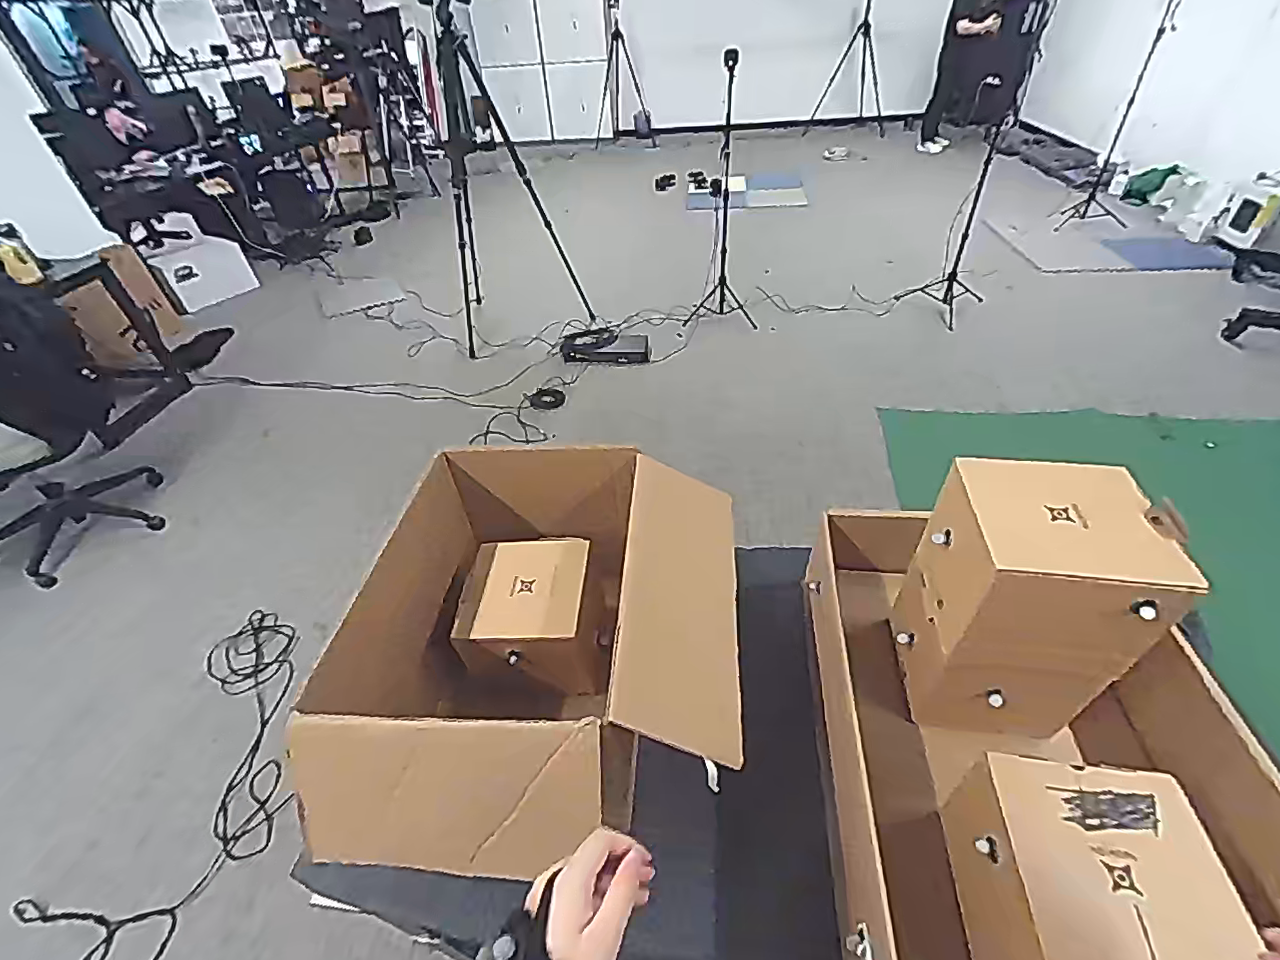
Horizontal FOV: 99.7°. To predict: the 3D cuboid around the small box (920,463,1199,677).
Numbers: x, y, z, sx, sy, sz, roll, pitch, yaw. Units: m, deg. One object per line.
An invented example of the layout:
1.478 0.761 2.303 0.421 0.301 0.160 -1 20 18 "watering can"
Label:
0.433 0.100 0.605 0.179 0.176 0.168 4 44 10 "small box"
